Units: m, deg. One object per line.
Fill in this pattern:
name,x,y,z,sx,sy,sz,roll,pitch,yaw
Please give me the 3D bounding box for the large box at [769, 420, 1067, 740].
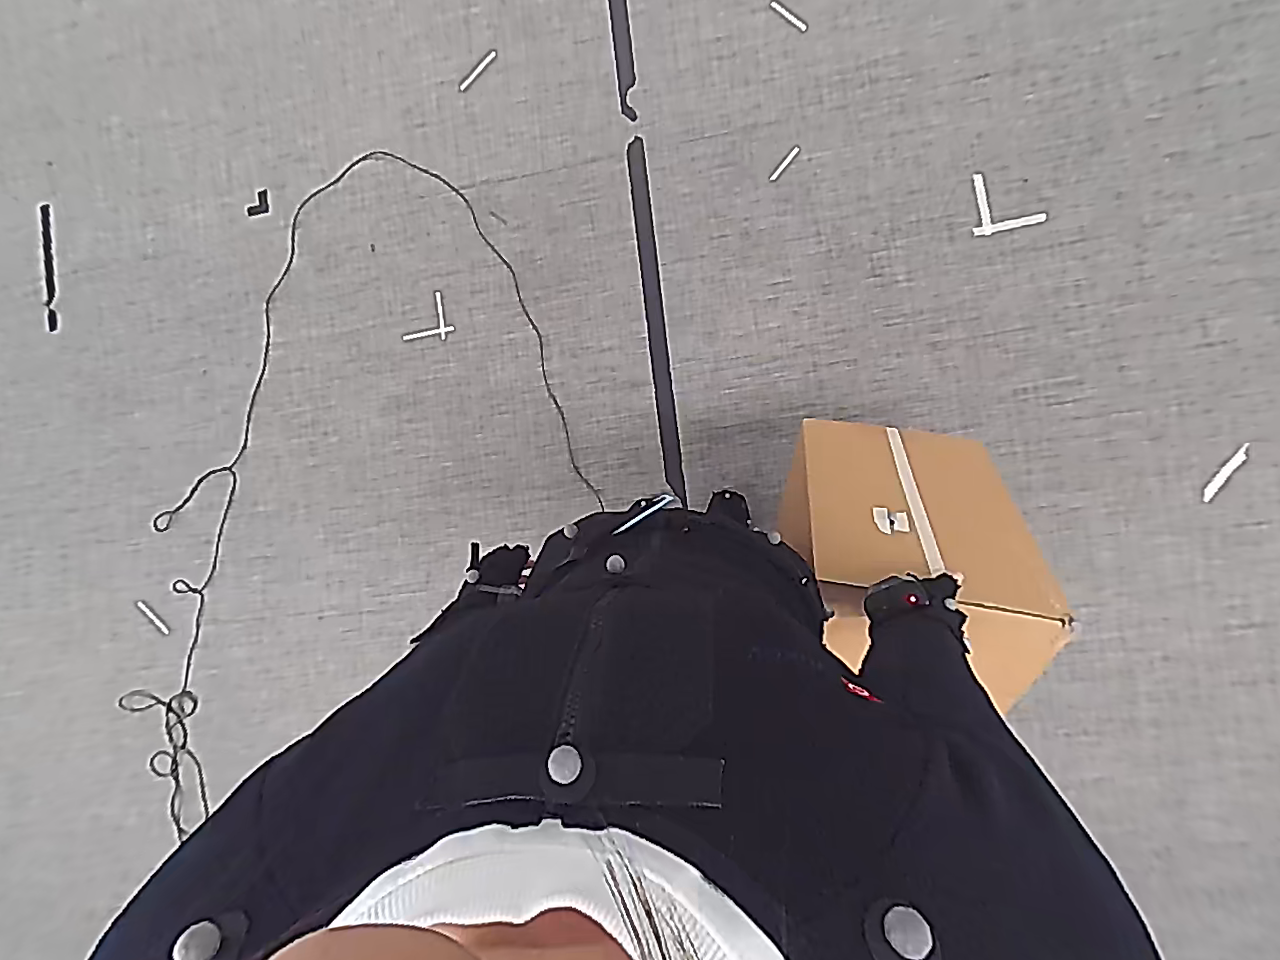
large box,0.400,0.149,0.916,0.320,0.408,0.320,8,130,9
